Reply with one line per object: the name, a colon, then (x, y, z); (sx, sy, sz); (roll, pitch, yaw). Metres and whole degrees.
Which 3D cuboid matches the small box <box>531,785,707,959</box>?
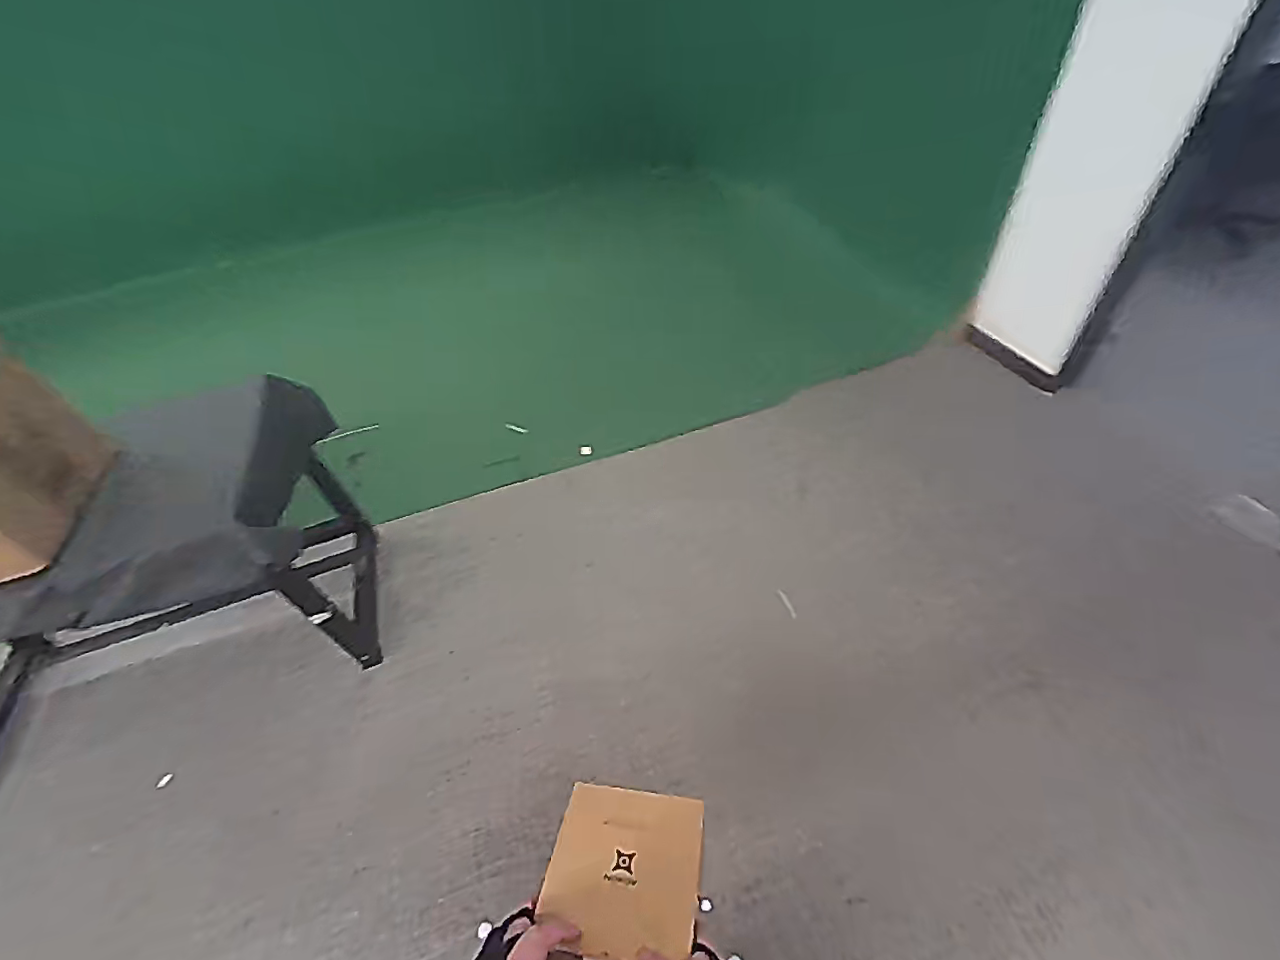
small box: (-0.010, 0.497, 0.627); (0.168, 0.176, 0.179); (1, 25, 10)
